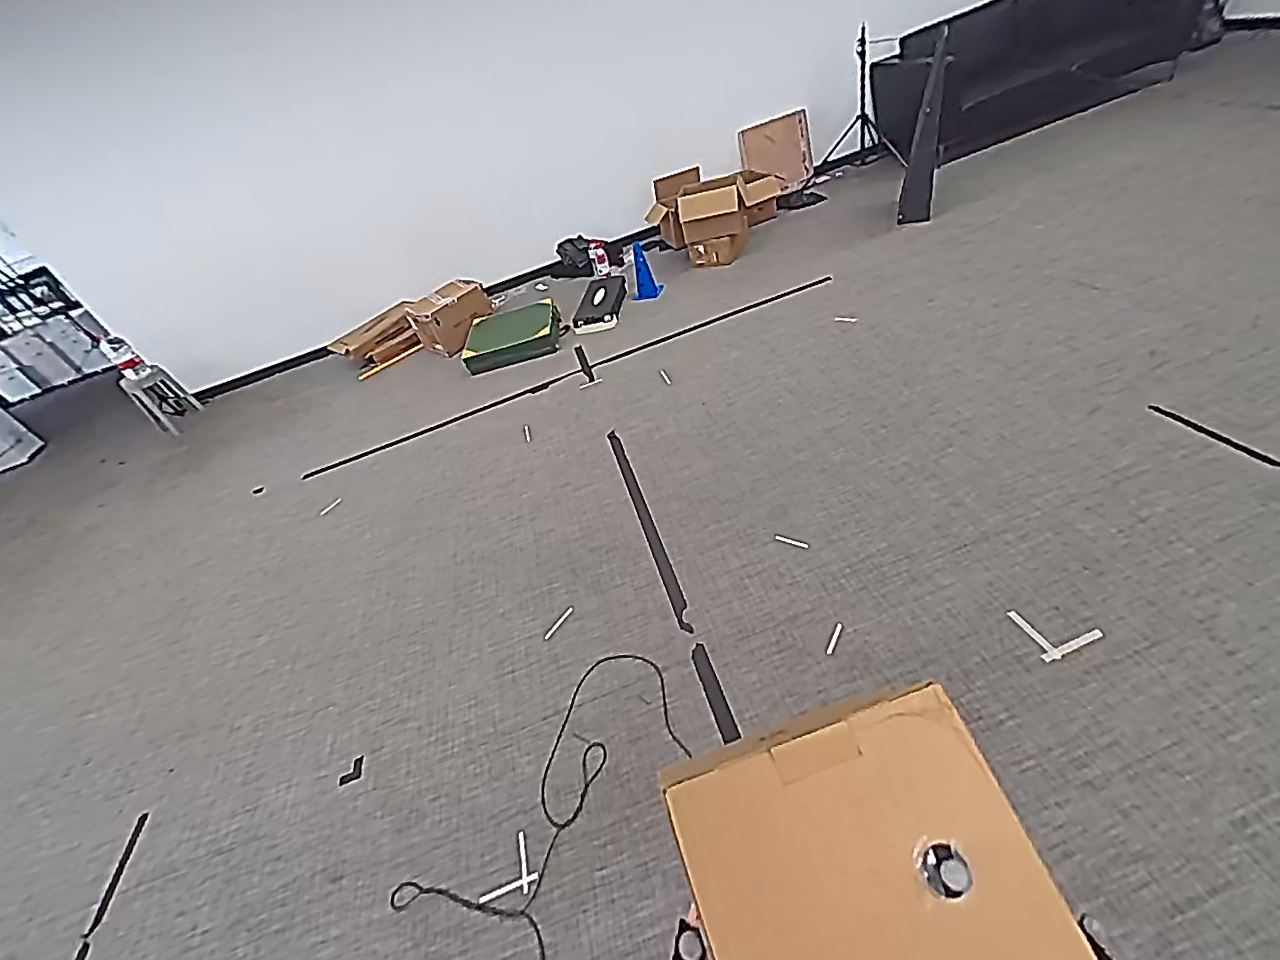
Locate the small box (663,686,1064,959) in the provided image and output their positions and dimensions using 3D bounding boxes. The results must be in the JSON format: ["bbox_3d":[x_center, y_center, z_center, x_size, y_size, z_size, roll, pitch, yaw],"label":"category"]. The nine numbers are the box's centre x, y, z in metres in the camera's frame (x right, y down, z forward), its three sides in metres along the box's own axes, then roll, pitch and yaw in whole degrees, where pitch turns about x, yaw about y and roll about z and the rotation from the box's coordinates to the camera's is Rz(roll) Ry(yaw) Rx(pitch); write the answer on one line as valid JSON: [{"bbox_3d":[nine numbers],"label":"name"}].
[{"bbox_3d":[0.120,0.251,0.345,0.168,0.179,0.176,-18,65,-7],"label":"small box"}]
